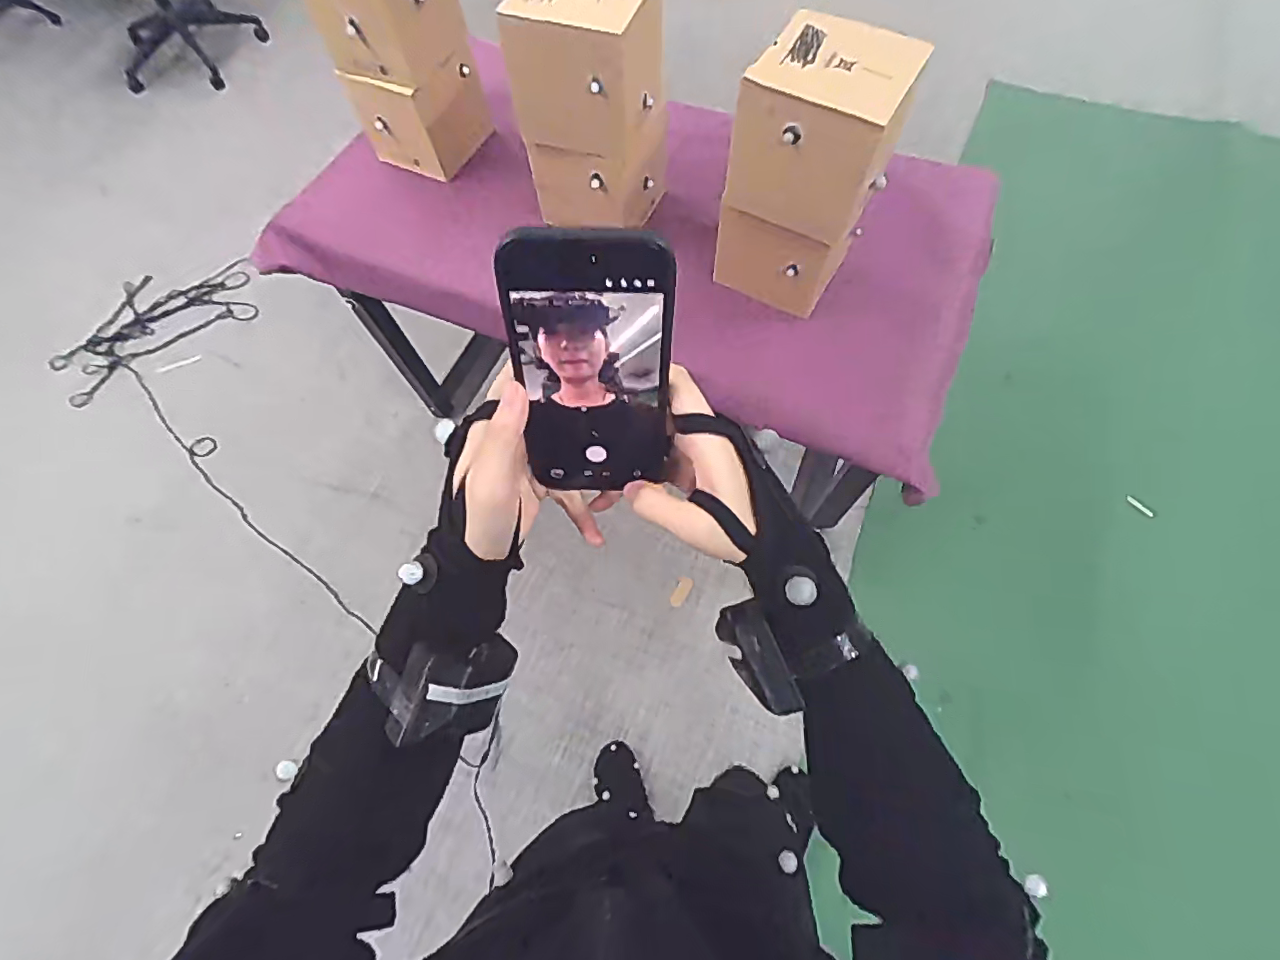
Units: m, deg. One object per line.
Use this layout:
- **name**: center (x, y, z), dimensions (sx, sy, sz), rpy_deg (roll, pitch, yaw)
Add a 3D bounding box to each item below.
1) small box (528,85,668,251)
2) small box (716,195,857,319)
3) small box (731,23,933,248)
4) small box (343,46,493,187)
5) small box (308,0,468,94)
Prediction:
- **small box**: center (-0.063, -0.530, 0.934), dimensions (0.179, 0.176, 0.168), rpy_deg (23, 68, 12)
- **small box**: center (0.238, -0.387, 0.860), dimensions (0.179, 0.176, 0.168), rpy_deg (29, 69, 15)
- **small box**: center (0.234, -0.439, 0.704), dimensions (0.179, 0.176, 0.168), rpy_deg (29, 69, 14)
- **small box**: center (-0.405, -0.696, 1.024), dimensions (0.168, 0.176, 0.179), rpy_deg (24, 69, 12)
- **small box**: center (-0.407, -0.771, 0.877), dimensions (0.168, 0.176, 0.179), rpy_deg (19, 68, 10)
